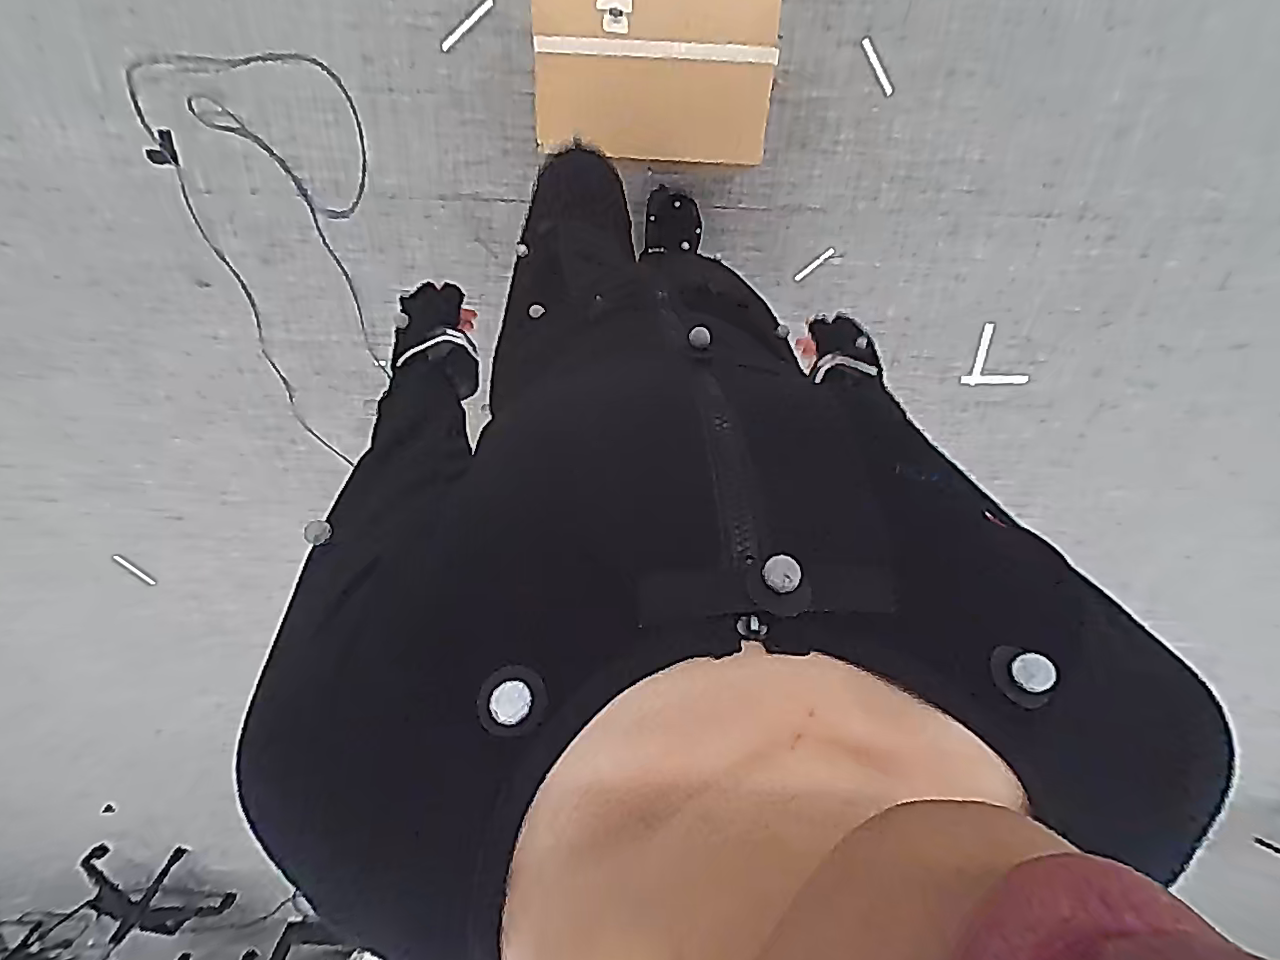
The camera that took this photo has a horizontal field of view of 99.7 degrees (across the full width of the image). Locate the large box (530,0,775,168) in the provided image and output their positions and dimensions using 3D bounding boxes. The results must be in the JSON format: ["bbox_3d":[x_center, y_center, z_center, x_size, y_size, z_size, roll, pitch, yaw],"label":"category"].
[{"bbox_3d":[0.023,-0.783,1.034,0.408,0.320,0.320,3,116,0],"label":"large box"}]
